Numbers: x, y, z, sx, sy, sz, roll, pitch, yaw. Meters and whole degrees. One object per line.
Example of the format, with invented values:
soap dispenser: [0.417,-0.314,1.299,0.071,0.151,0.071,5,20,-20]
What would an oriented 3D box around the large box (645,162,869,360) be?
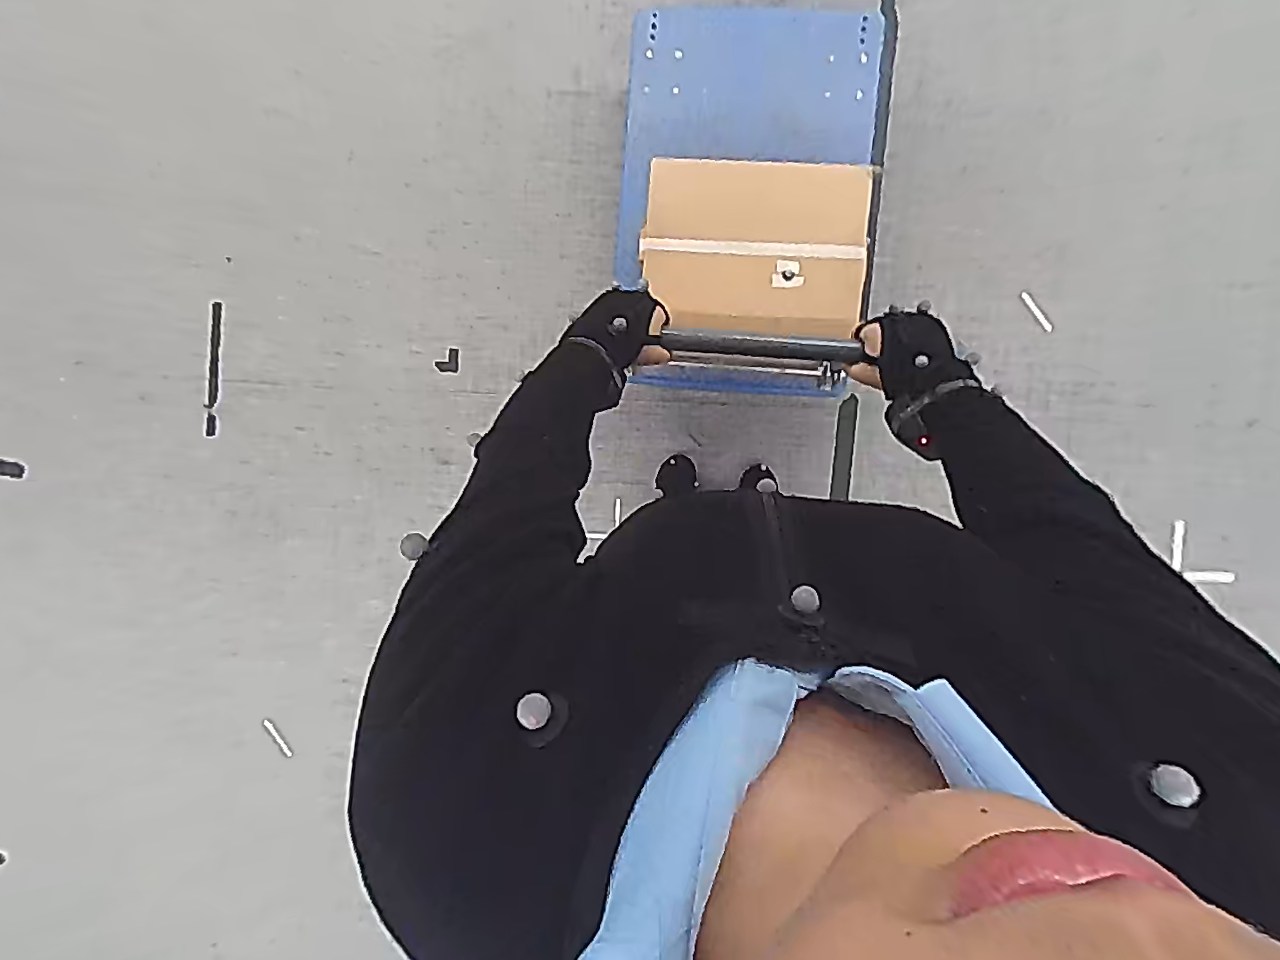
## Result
large box: [0.222,-0.442,1.157,0.408,0.320,0.320,4,95,4]
